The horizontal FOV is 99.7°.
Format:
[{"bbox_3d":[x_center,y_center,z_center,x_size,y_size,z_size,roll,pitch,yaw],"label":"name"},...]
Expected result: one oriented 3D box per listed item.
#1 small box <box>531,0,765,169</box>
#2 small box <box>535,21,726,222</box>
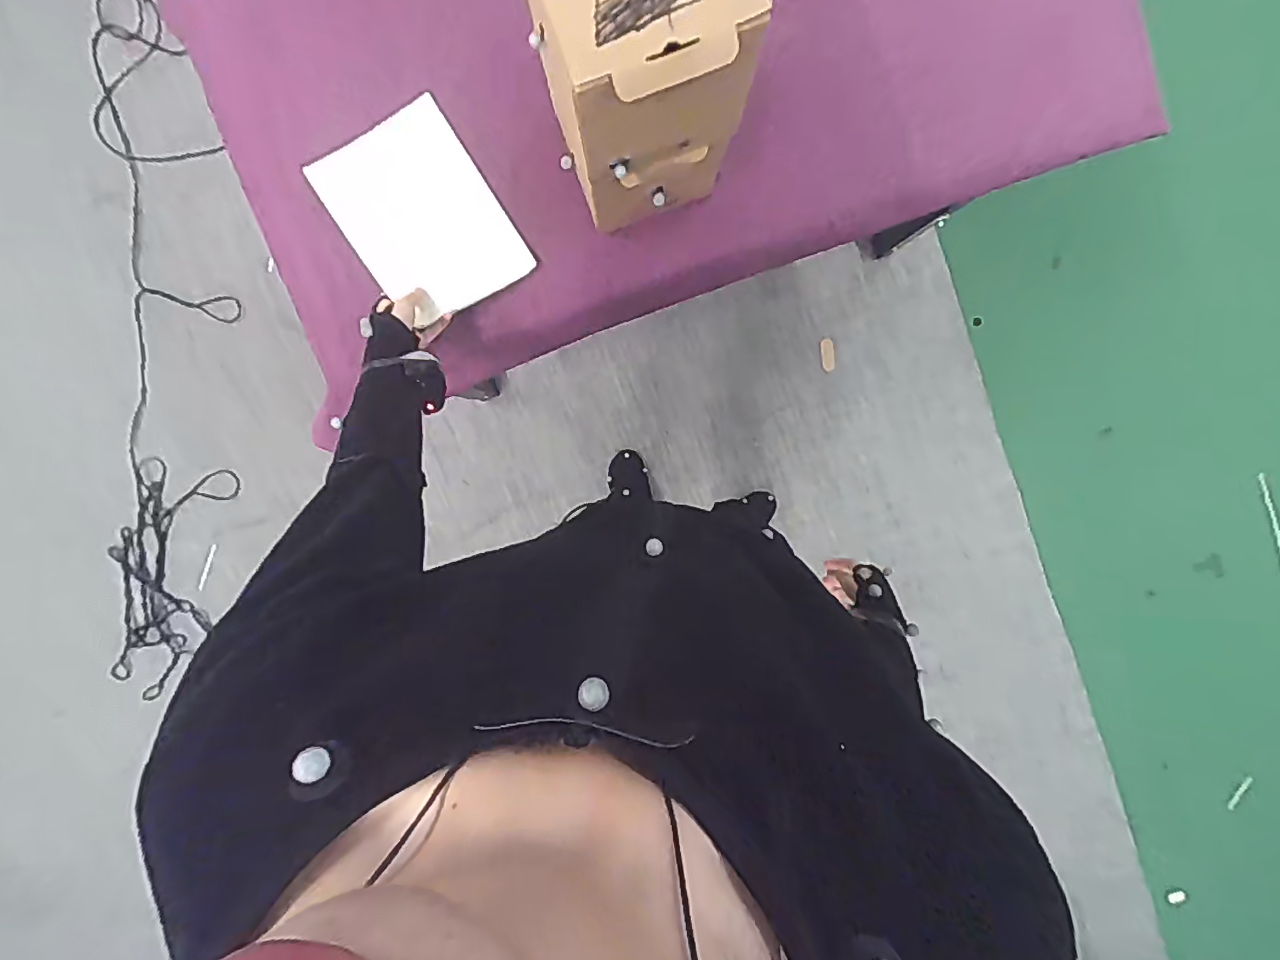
[{"bbox_3d":[-0.004,-0.419,0.494,0.168,0.176,0.179,-20,94,1],"label":"small box"},{"bbox_3d":[-0.009,-0.441,0.659,0.168,0.176,0.179,-20,96,1],"label":"small box"}]
